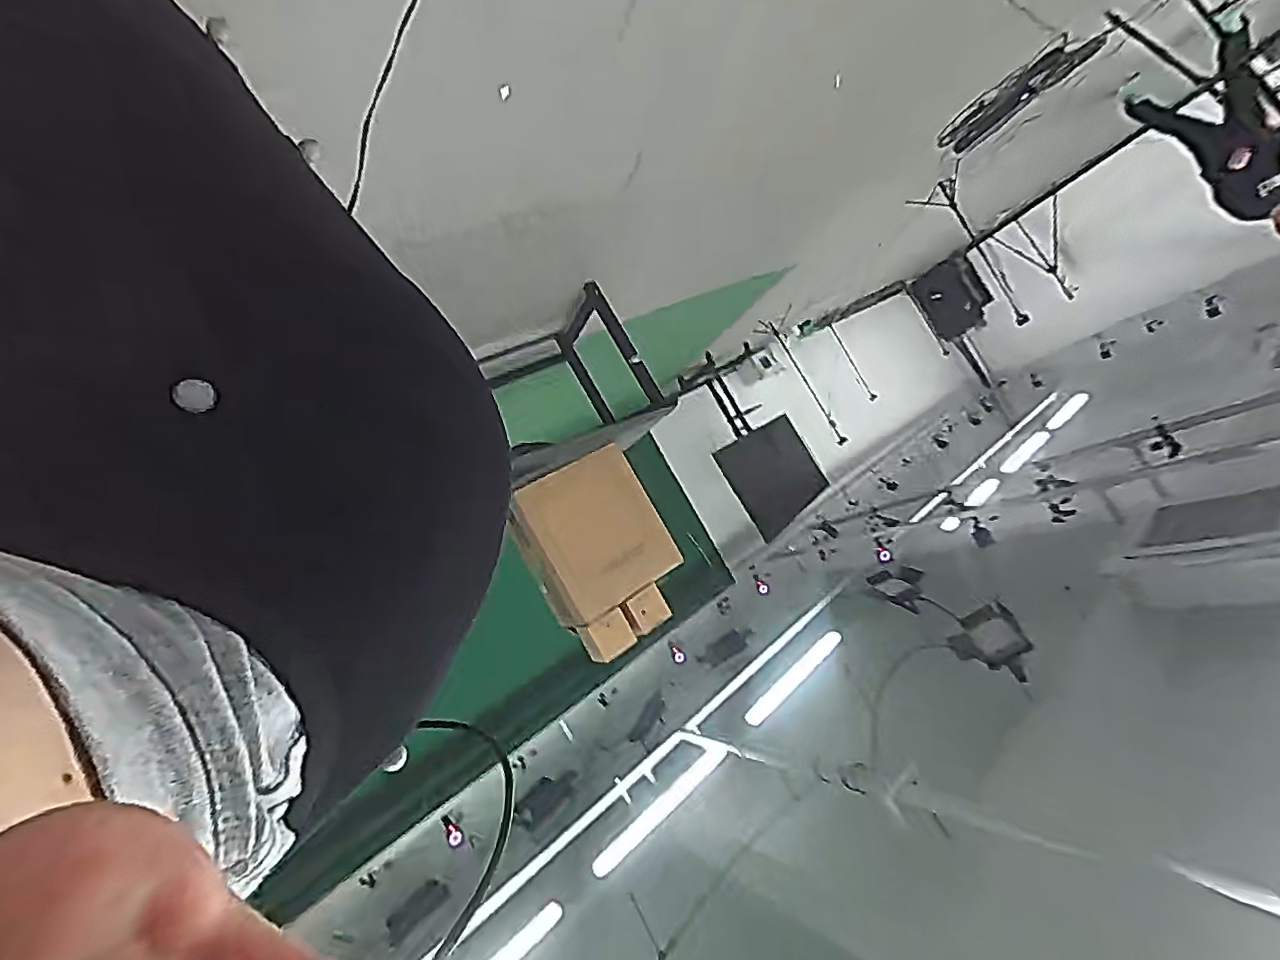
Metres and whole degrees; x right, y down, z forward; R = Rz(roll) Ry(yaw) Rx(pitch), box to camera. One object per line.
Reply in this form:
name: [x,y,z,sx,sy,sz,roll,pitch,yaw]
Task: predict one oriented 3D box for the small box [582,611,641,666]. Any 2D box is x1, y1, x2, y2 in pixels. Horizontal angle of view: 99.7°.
small box: [-0.128,0.667,2.286,0.168,0.176,0.179,-27,176,-26]
